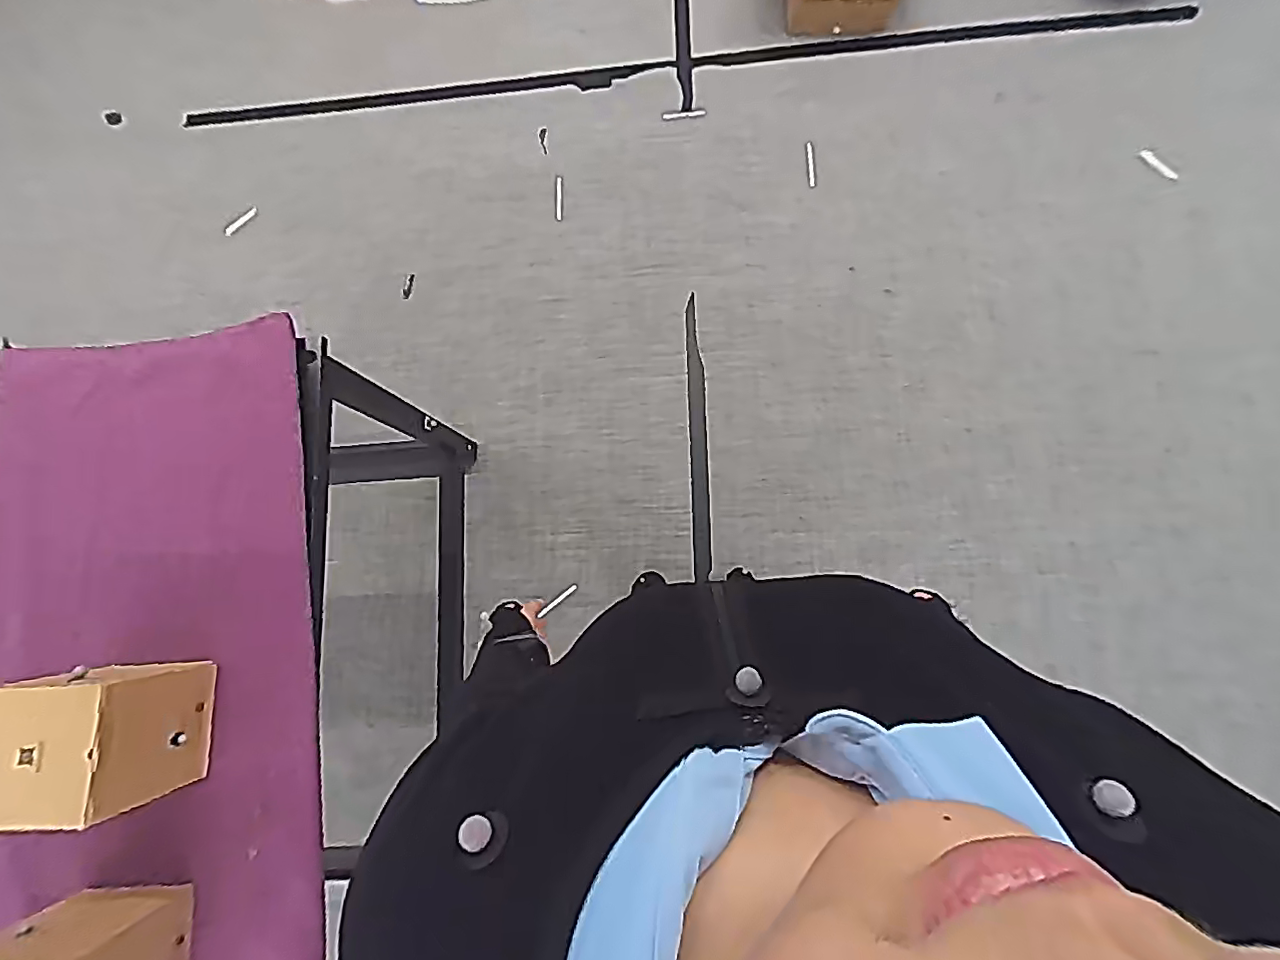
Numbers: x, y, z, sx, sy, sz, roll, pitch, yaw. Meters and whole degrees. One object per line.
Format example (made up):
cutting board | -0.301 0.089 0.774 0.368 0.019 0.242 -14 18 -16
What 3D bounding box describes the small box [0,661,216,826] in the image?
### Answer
small box | -0.736 0.347 0.739 0.179 0.176 0.168 -4 80 4
